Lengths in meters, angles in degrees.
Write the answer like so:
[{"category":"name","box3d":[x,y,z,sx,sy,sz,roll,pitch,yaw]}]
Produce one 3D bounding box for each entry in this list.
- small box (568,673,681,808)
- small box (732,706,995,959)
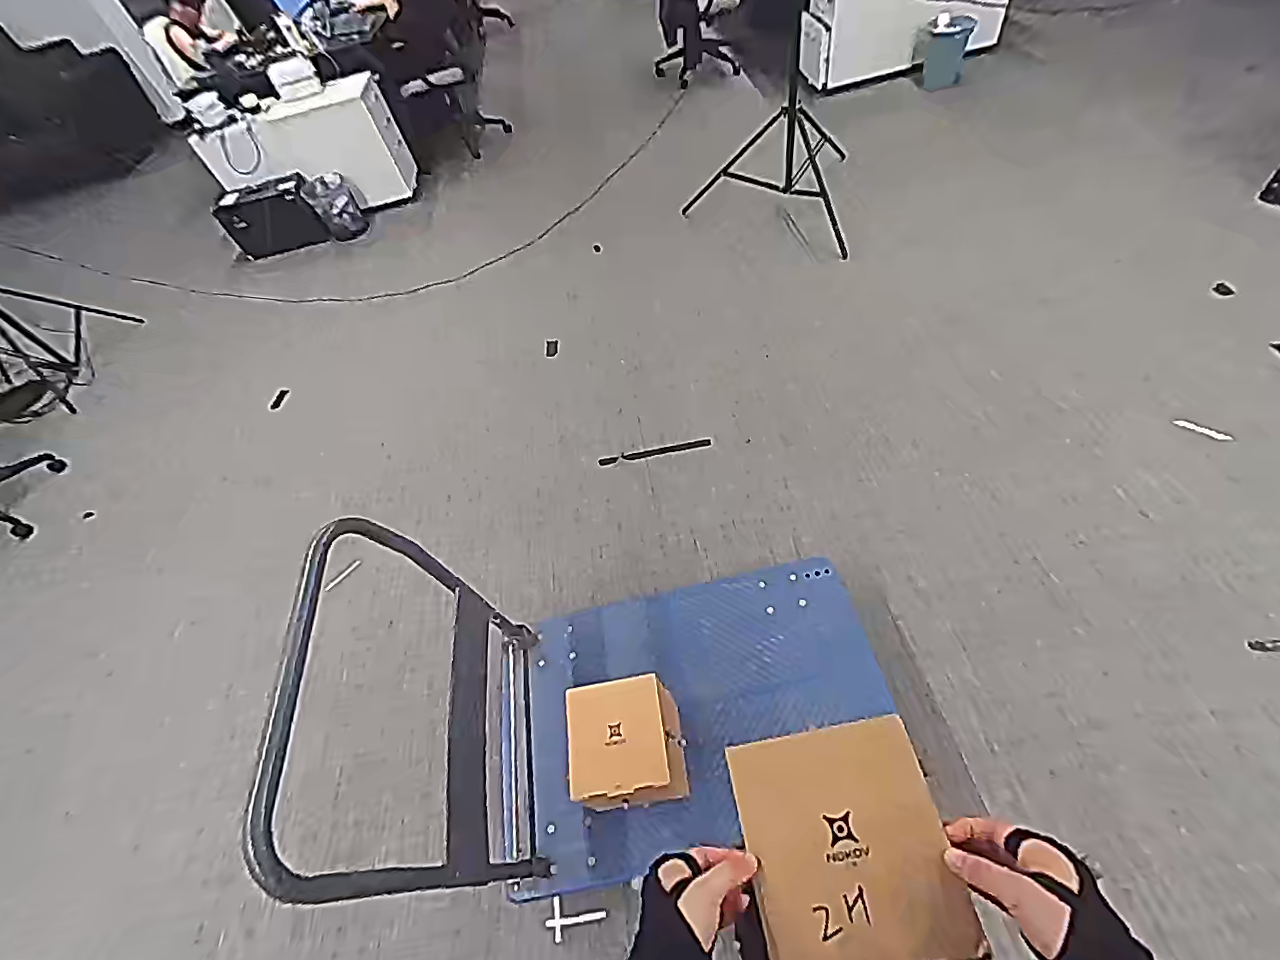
[{"category":"small box","box3d":[-0.026,0.468,0.964,0.168,0.176,0.179,-12,54,4]},{"category":"small box","box3d":[0.195,0.336,0.522,0.168,0.176,0.179,-16,57,9]}]
